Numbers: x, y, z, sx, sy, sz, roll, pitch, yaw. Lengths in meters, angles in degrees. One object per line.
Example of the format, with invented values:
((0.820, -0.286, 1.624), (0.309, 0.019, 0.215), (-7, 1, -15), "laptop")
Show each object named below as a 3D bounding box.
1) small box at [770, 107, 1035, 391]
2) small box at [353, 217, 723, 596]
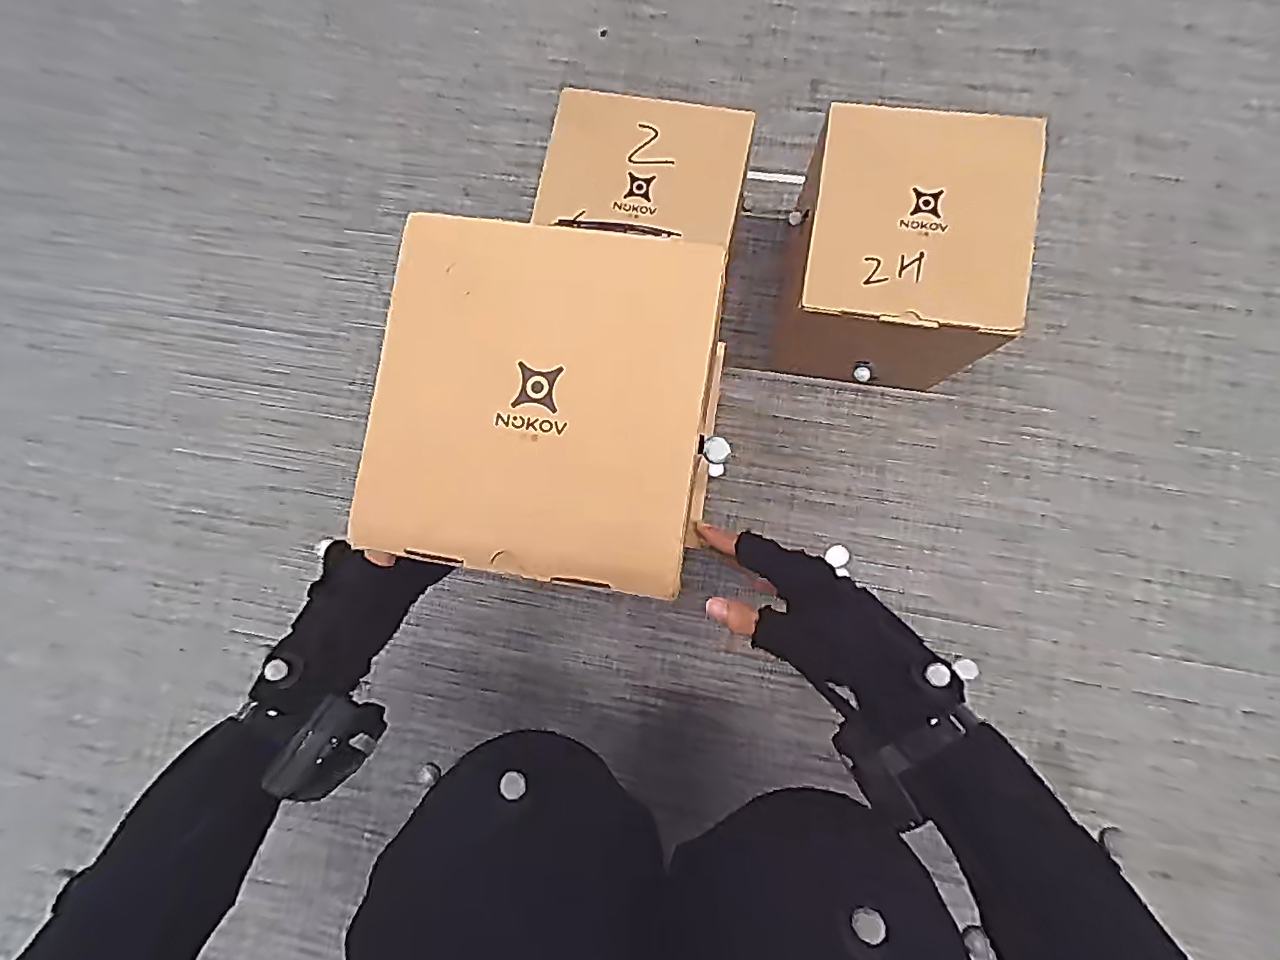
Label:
((0.222, -0.197, 0.502), (0.168, 0.176, 0.179), (9, 86, 6), "small box")
((-0.045, -0.035, 0.349), (0.168, 0.176, 0.179), (8, 86, 6), "small box")
